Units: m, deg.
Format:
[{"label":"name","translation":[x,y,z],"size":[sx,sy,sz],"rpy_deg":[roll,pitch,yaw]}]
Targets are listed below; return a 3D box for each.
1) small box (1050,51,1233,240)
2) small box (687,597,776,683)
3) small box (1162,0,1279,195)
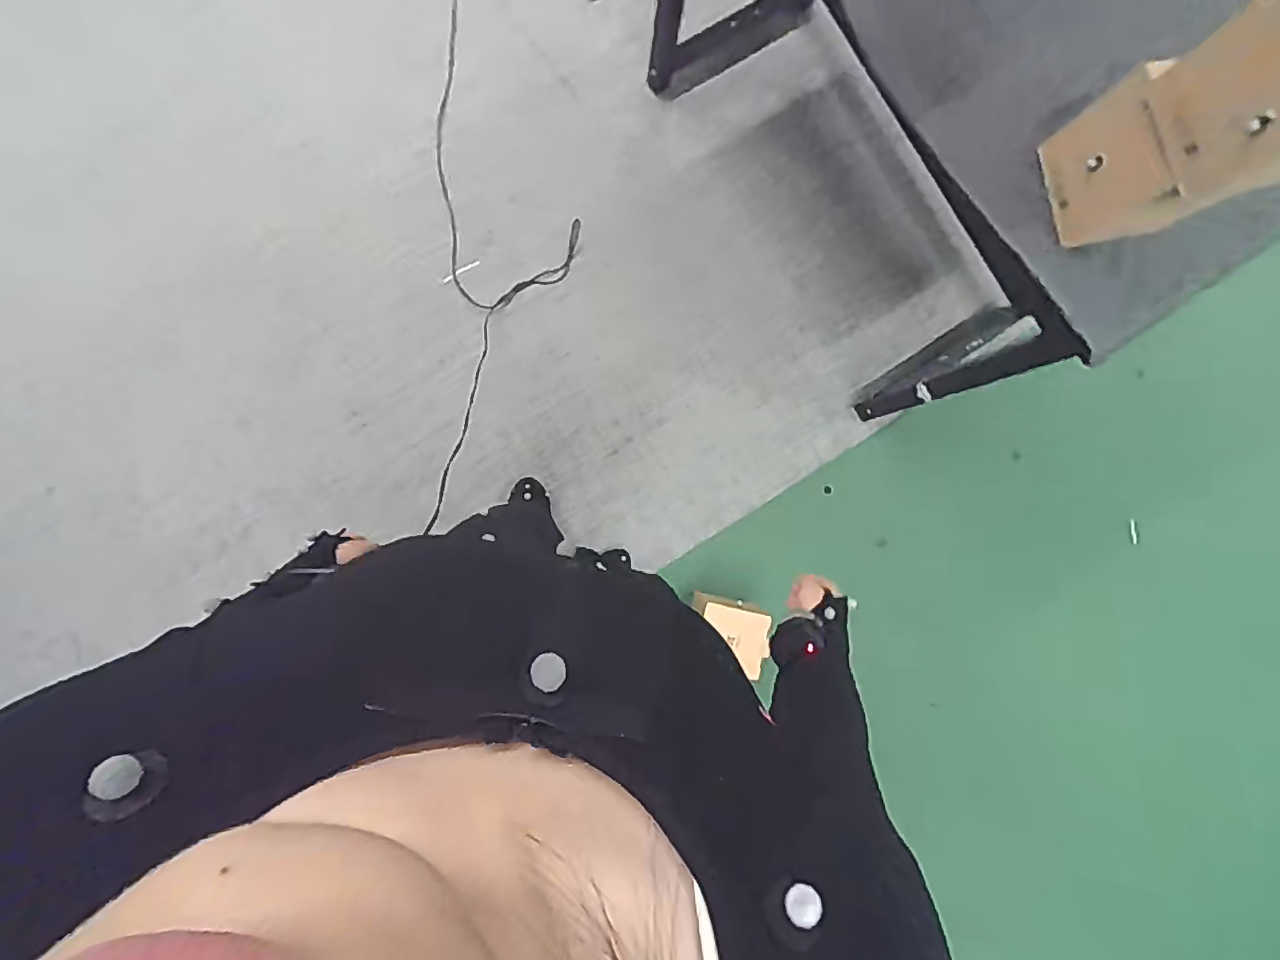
[{"label":"small box","translation":[0.729,-0.465,0.768],"size":[0.179,0.176,0.168],"rpy_deg":[-12,88,-7]},{"label":"small box","translation":[0.232,0.412,1.421],"size":[0.179,0.176,0.168],"rpy_deg":[14,86,-4]},{"label":"small box","translation":[0.747,-0.453,0.606],"size":[0.179,0.176,0.168],"rpy_deg":[-17,90,-8]}]
